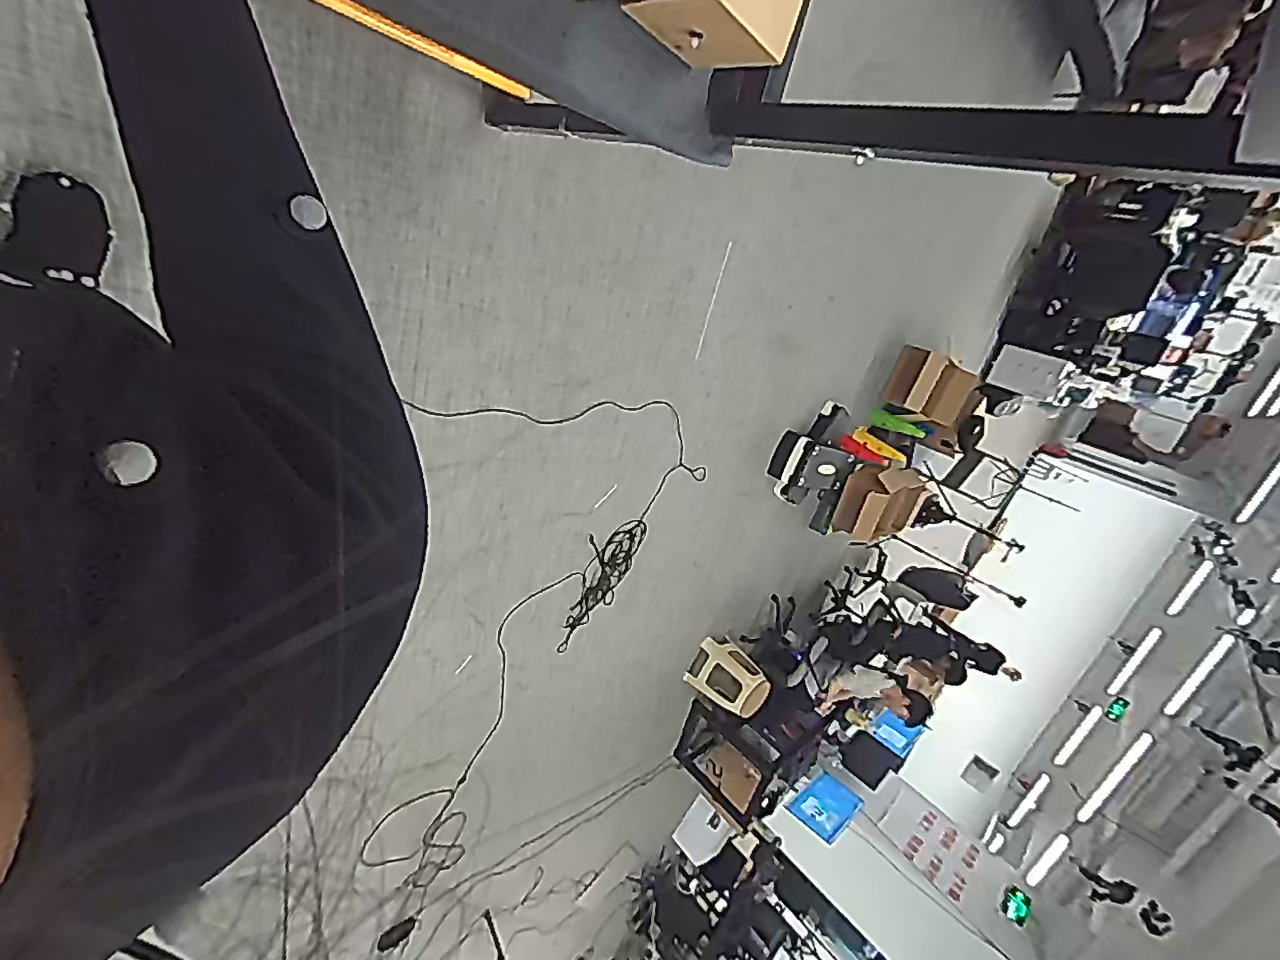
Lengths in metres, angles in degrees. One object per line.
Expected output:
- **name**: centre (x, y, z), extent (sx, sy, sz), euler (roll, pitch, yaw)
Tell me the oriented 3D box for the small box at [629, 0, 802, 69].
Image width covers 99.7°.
- **small box**: centre (0.104, -0.670, 0.702), extent (0.168, 0.176, 0.179), euler (-3, 117, -47)
